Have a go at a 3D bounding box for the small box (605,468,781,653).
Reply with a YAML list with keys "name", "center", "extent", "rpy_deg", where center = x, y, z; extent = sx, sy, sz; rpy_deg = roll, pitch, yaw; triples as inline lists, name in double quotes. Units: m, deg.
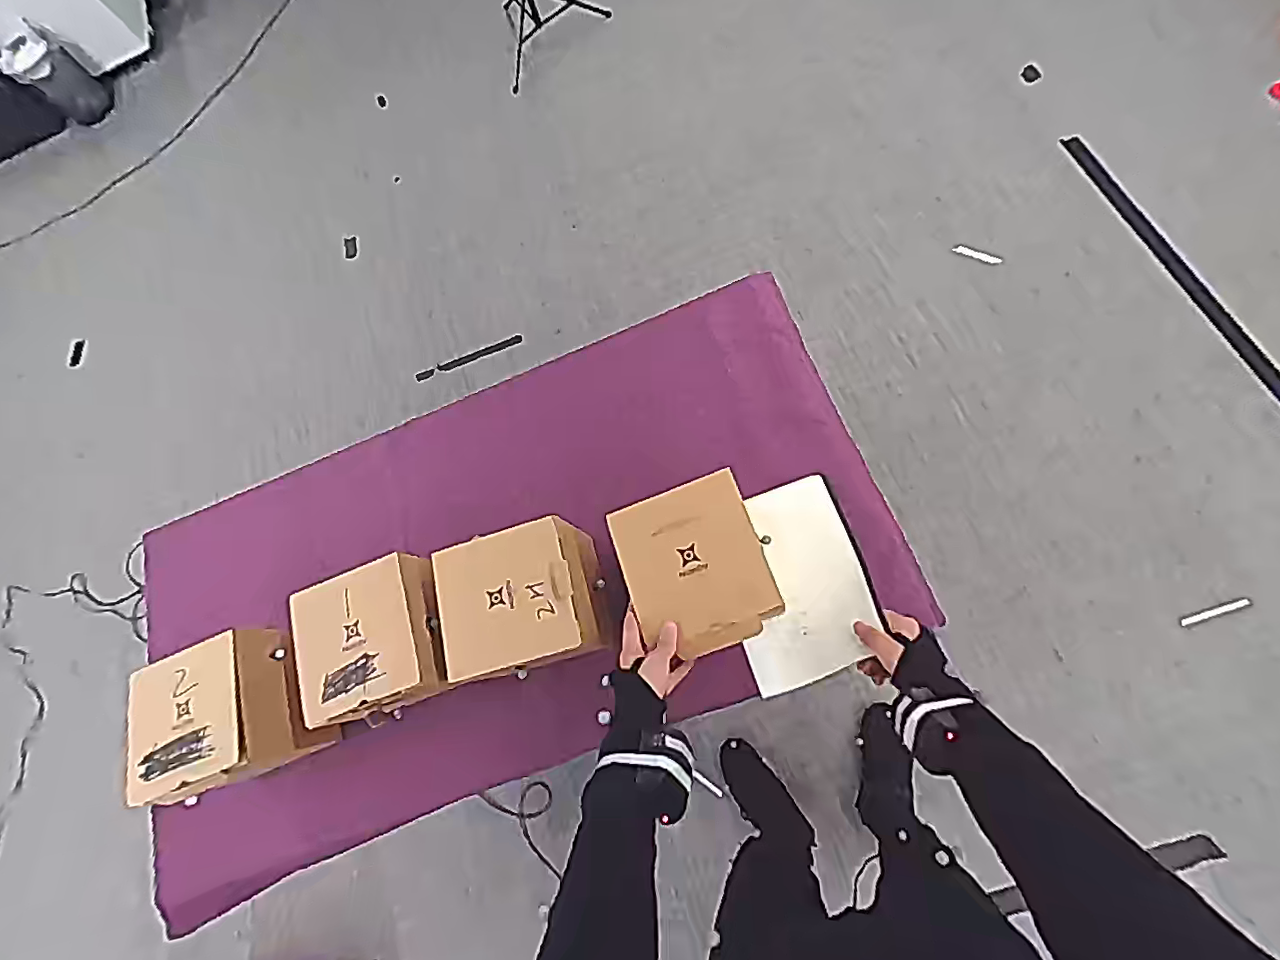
- name: "small box"
  center: [0.076, 0.111, 0.700]
  extent: [0.168, 0.176, 0.179]
  rpy_deg: [-22, 70, 7]
